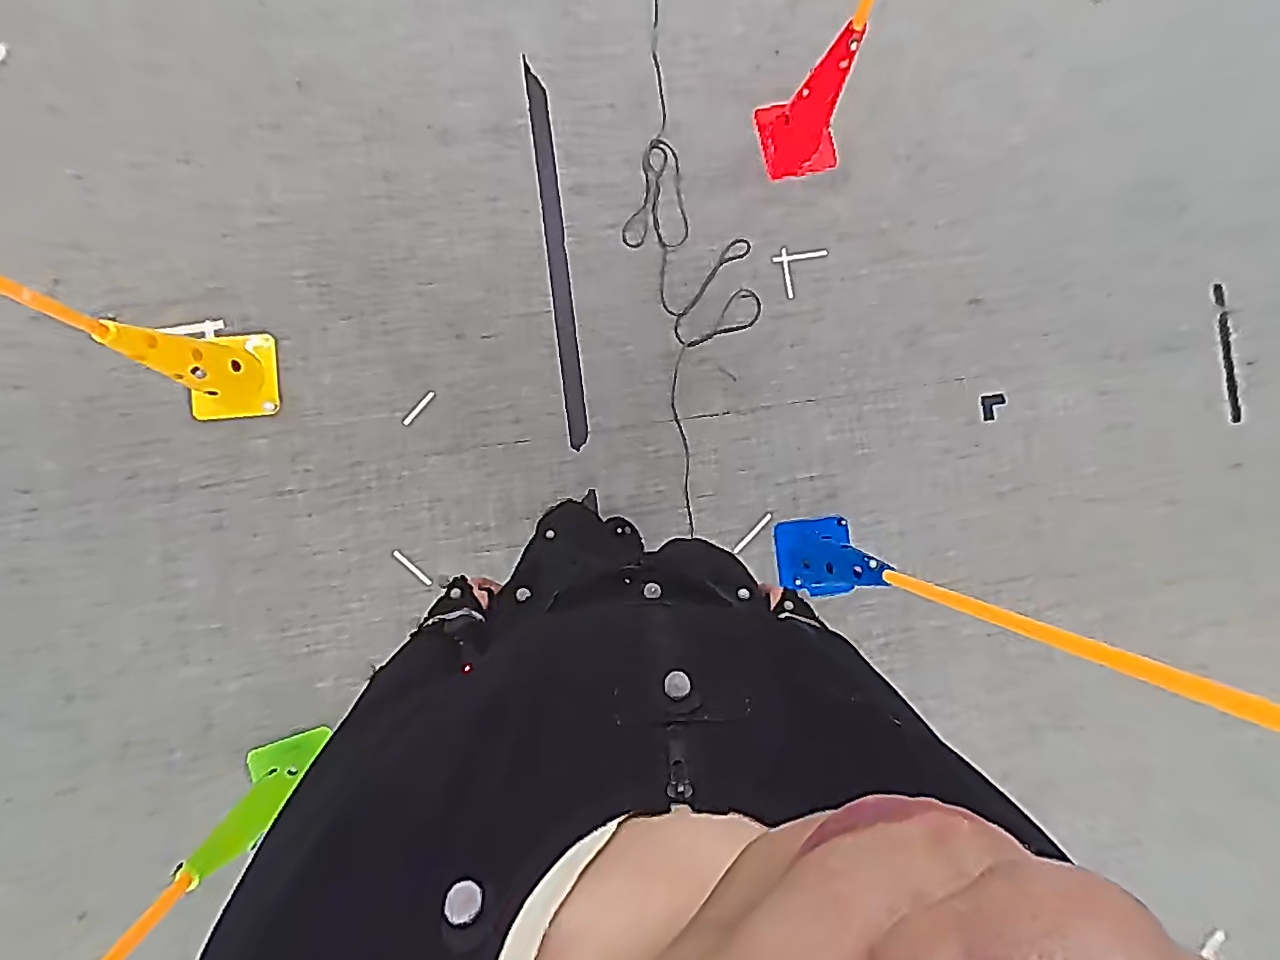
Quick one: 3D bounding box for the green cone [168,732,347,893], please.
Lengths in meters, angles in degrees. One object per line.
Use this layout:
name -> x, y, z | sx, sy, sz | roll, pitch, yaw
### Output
green cone -> -0.792, 0.701, 1.097 | 0.200, 0.368, 0.202 | -18, 87, -6

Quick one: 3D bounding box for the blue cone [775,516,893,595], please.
blue cone -> 0.465, 0.185, 1.237 | 0.193, 0.380, 0.192 | -5, 87, -5

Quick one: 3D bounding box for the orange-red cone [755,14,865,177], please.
orange-red cone -> 0.430, -0.924, 1.277 | 0.199, 0.360, 0.198 | -13, 88, -4
